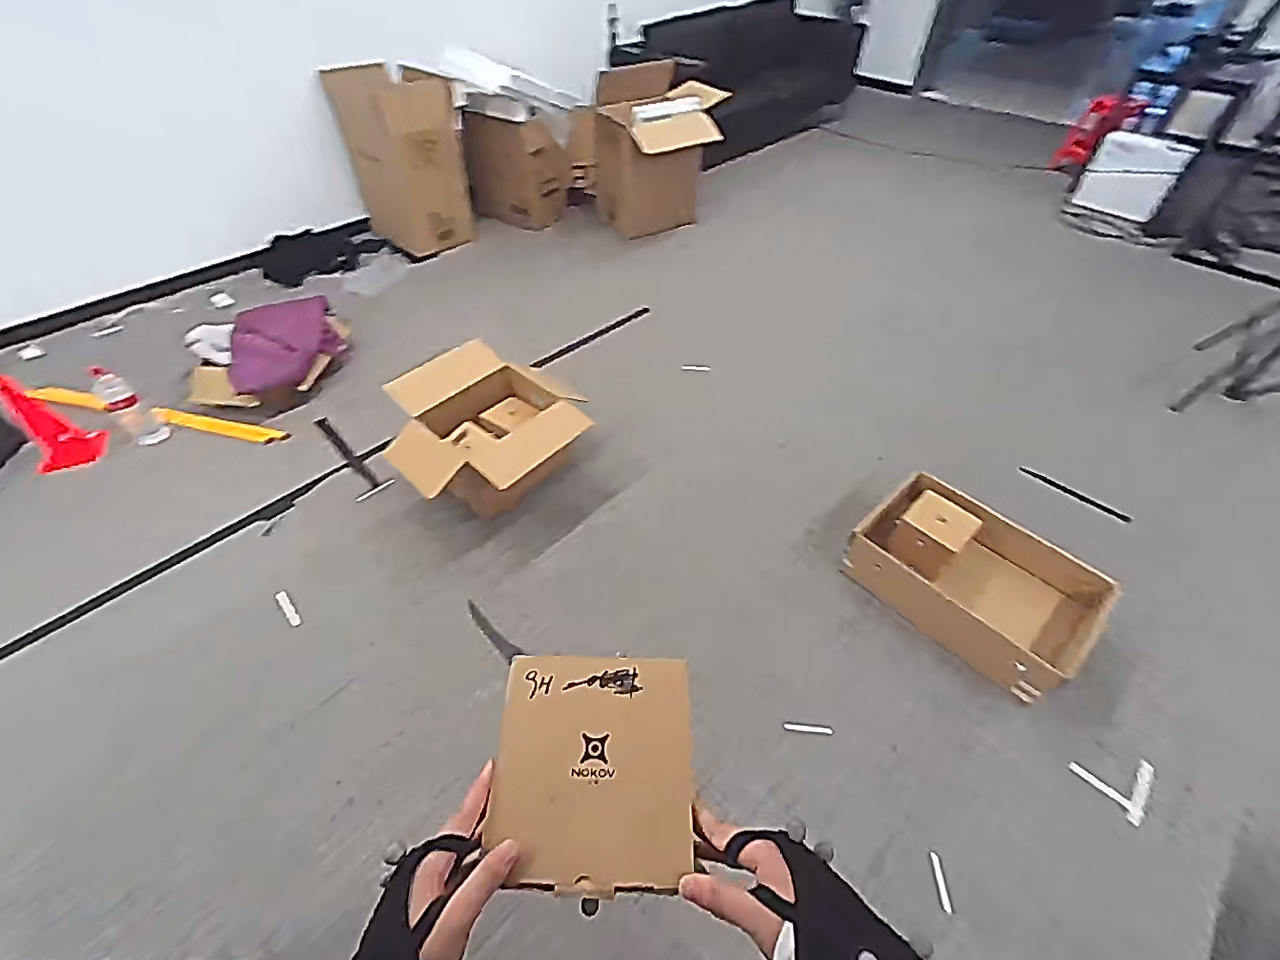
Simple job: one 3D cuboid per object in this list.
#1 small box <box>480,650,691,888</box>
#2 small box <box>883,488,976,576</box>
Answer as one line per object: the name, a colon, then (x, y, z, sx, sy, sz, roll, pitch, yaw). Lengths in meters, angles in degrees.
small box: (-0.037, 0.278, 0.520, 0.168, 0.176, 0.179, 1, 53, 1)
small box: (0.896, 0.165, 1.692, 0.168, 0.176, 0.179, -37, 59, -26)
